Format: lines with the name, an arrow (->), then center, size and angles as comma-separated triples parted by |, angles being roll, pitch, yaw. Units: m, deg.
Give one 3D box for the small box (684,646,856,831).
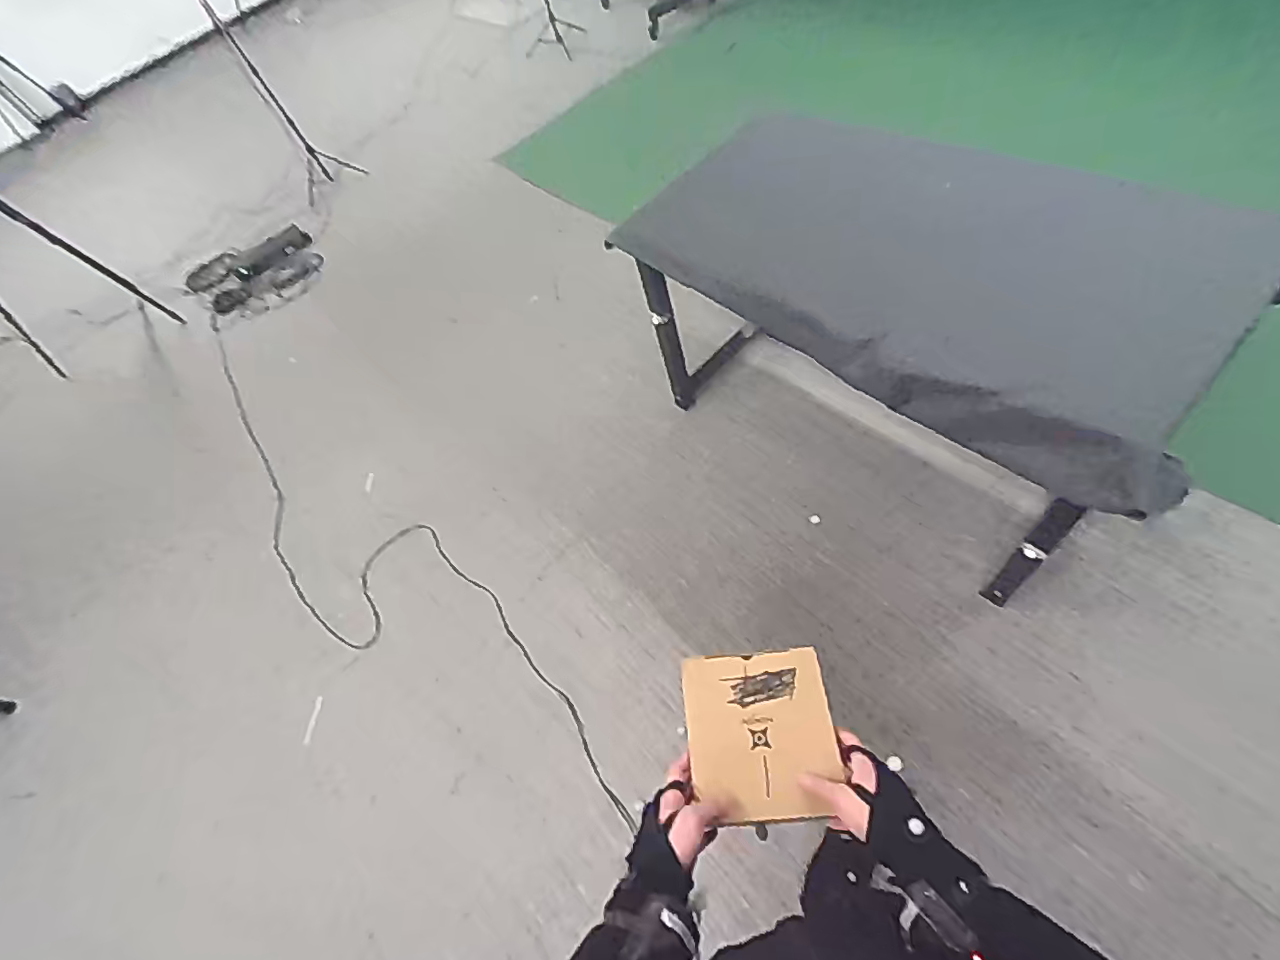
small box -> 0.143, 0.320, 0.662 | 0.168, 0.176, 0.179 | -6, 56, 4
